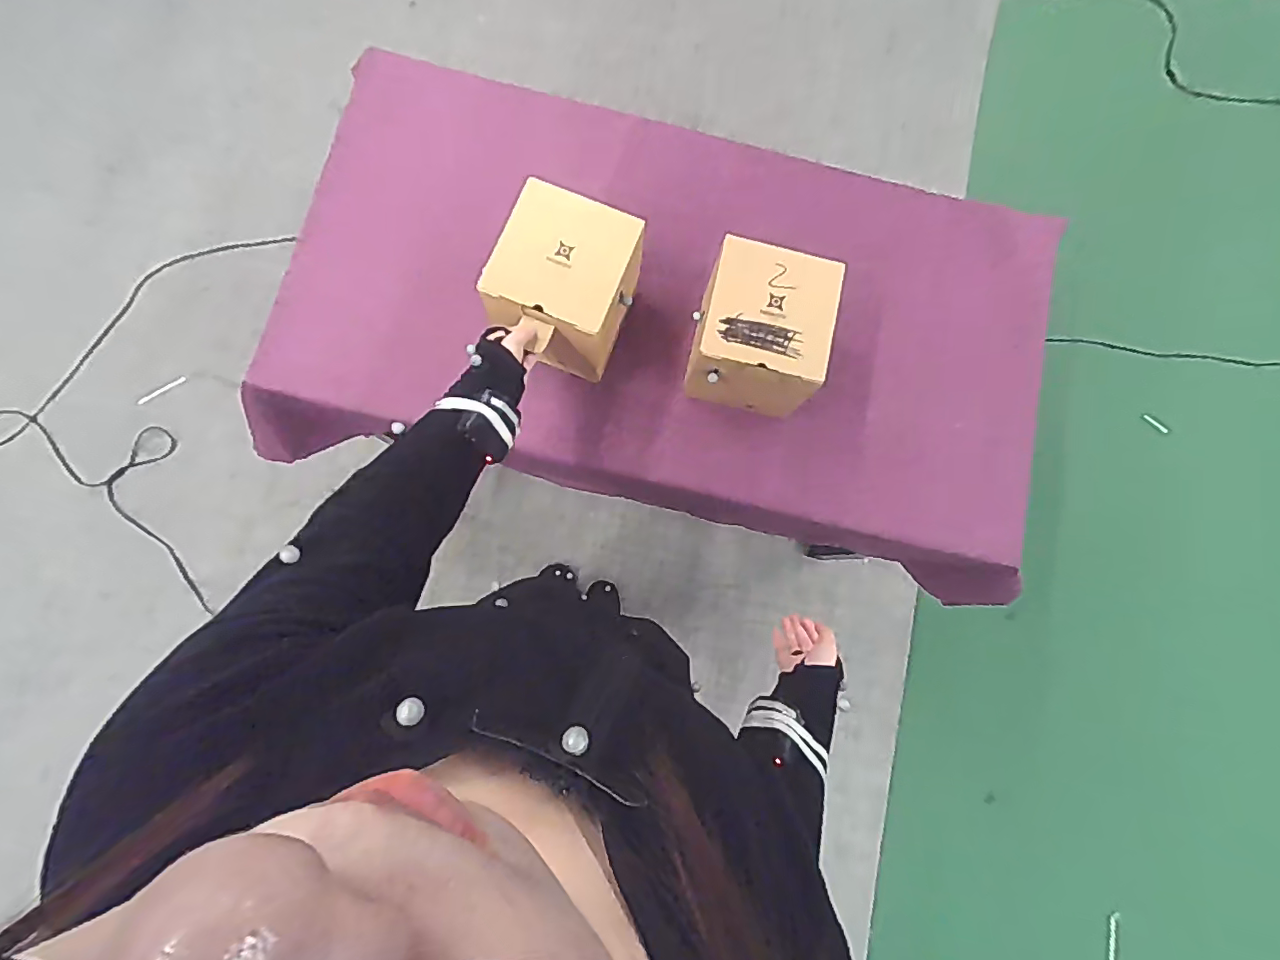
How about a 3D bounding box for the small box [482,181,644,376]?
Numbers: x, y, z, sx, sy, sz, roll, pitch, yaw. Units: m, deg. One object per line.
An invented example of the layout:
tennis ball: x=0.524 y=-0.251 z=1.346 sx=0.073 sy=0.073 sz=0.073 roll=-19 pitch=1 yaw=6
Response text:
small box: x=-0.106 y=-0.281 z=0.788 sx=0.168 sy=0.176 sz=0.179 roll=21 pitch=81 yaw=0
